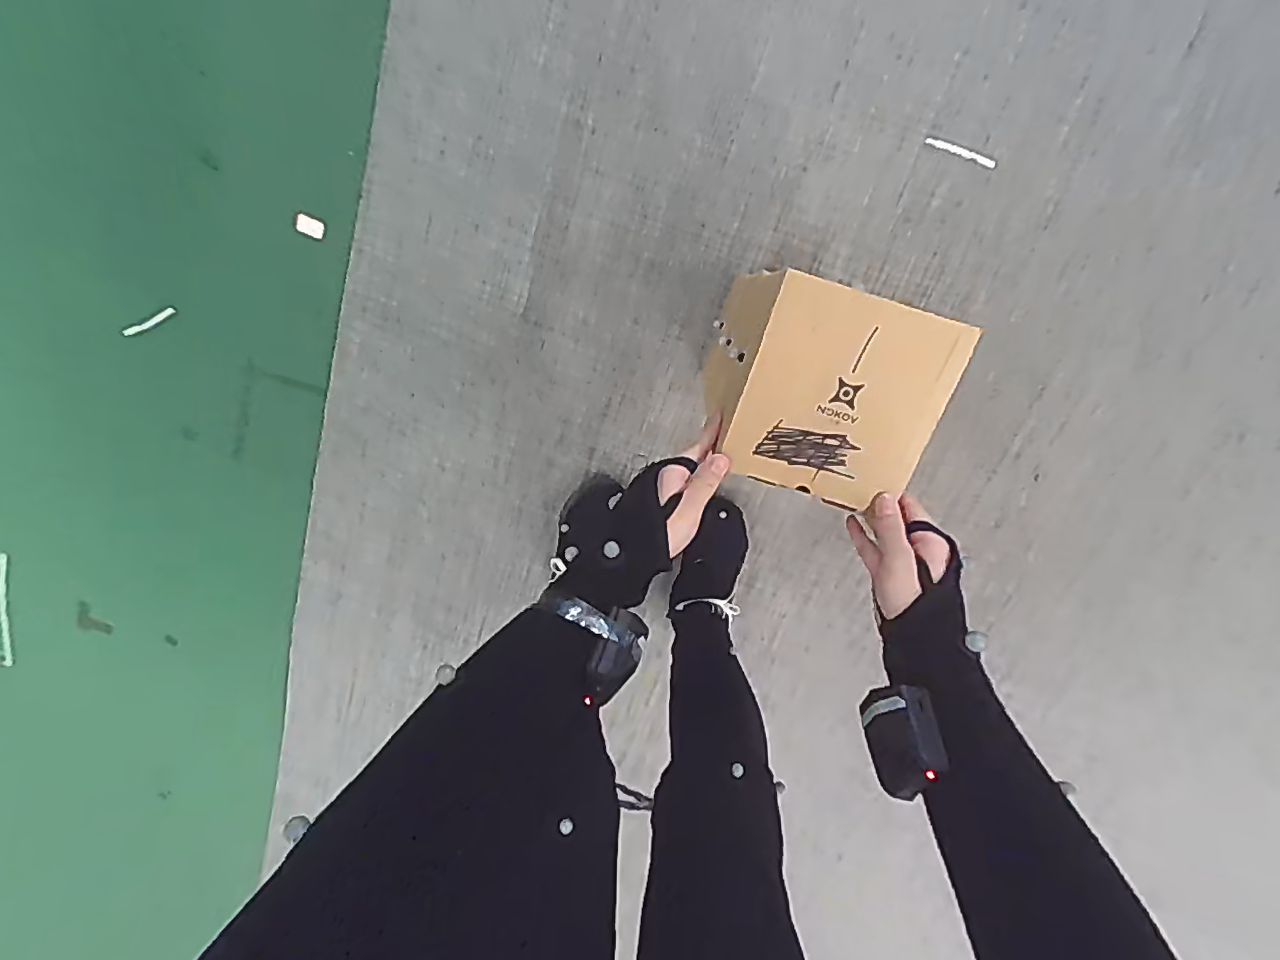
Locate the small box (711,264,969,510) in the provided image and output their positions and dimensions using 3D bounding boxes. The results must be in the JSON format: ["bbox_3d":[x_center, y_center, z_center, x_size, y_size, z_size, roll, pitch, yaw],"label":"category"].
[{"bbox_3d":[0.176,-0.098,0.542,0.168,0.176,0.179,18,108,-1],"label":"small box"}]

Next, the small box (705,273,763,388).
[{"bbox_3d":[0.209,-0.209,0.849,0.179,0.176,0.168,19,109,-2],"label":"small box"}]
